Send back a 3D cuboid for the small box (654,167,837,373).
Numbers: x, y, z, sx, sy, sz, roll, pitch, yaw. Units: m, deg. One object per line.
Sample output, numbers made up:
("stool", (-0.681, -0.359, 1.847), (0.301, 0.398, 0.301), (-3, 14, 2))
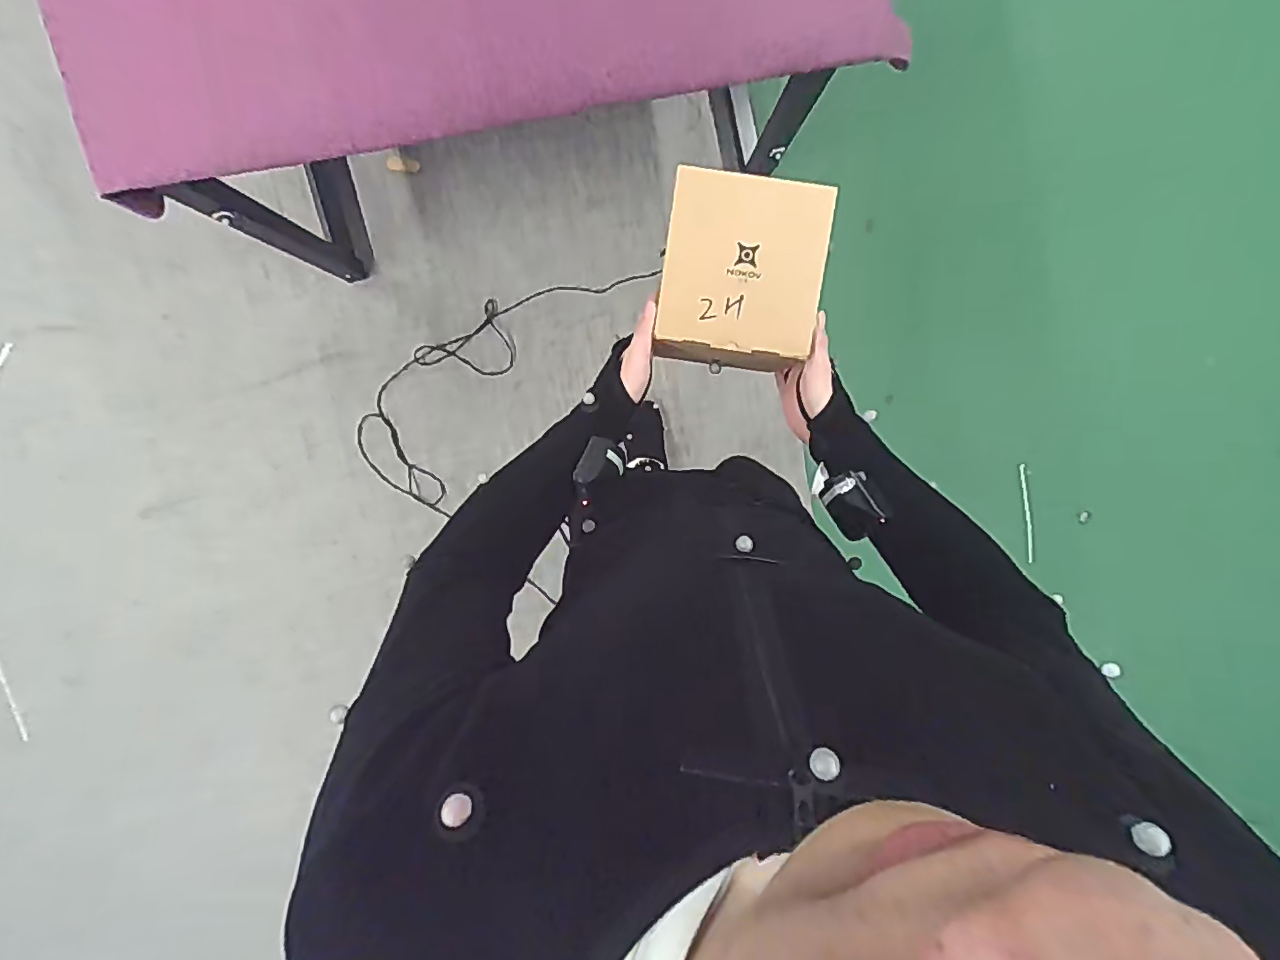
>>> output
("small box", (0.109, -0.230, 0.639), (0.168, 0.176, 0.179), (8, 97, -1))
